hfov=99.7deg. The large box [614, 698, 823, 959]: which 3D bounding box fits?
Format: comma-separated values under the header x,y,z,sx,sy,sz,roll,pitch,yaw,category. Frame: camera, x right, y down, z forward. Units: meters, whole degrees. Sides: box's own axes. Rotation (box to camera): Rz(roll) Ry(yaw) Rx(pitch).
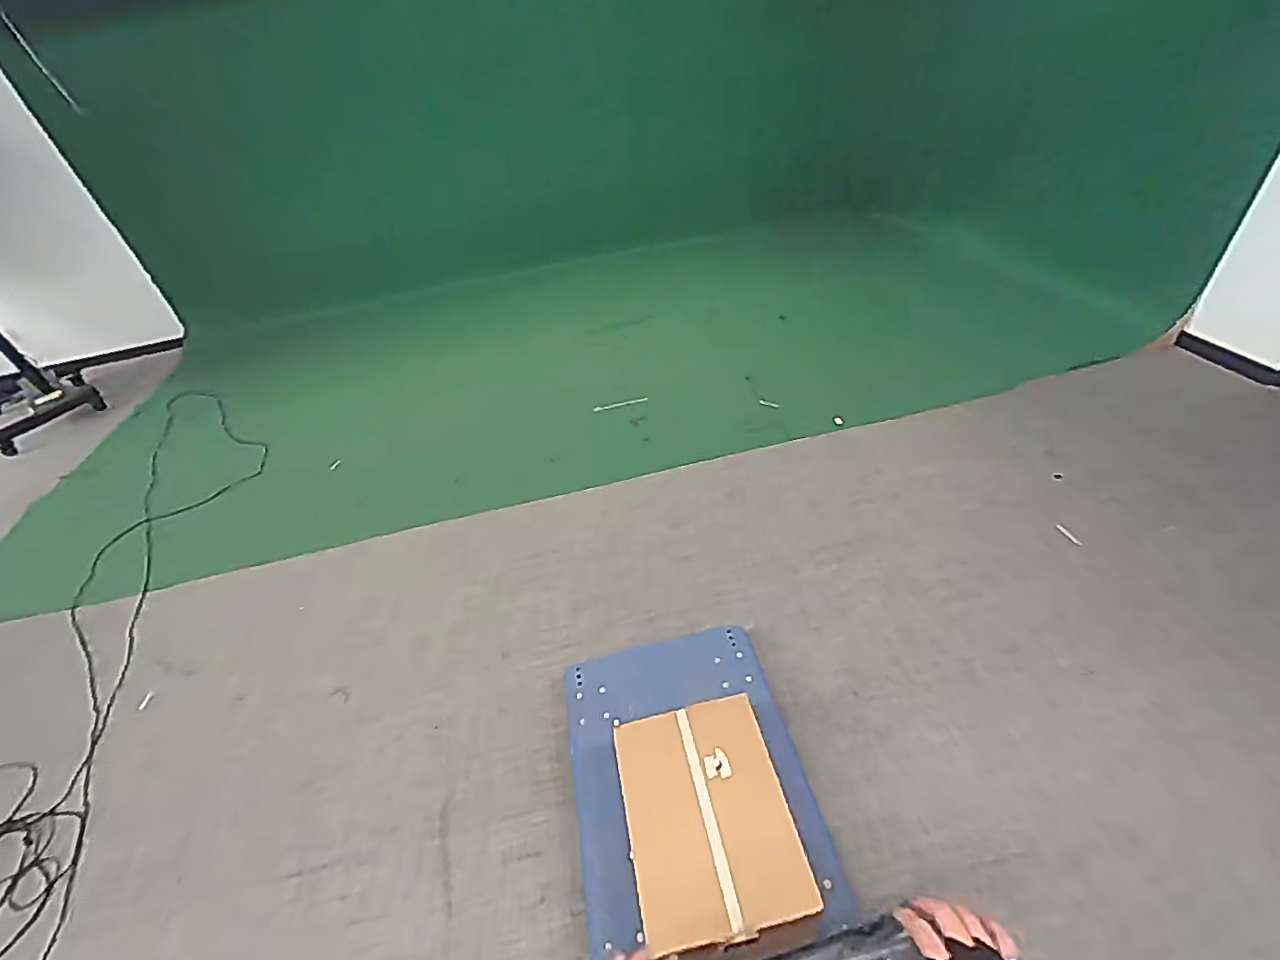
x,y,z,sx,sy,sz,roll,pitch,yaw,category
0.150,0.760,1.157,0.320,0.320,0.408,-12,40,-4,large box
